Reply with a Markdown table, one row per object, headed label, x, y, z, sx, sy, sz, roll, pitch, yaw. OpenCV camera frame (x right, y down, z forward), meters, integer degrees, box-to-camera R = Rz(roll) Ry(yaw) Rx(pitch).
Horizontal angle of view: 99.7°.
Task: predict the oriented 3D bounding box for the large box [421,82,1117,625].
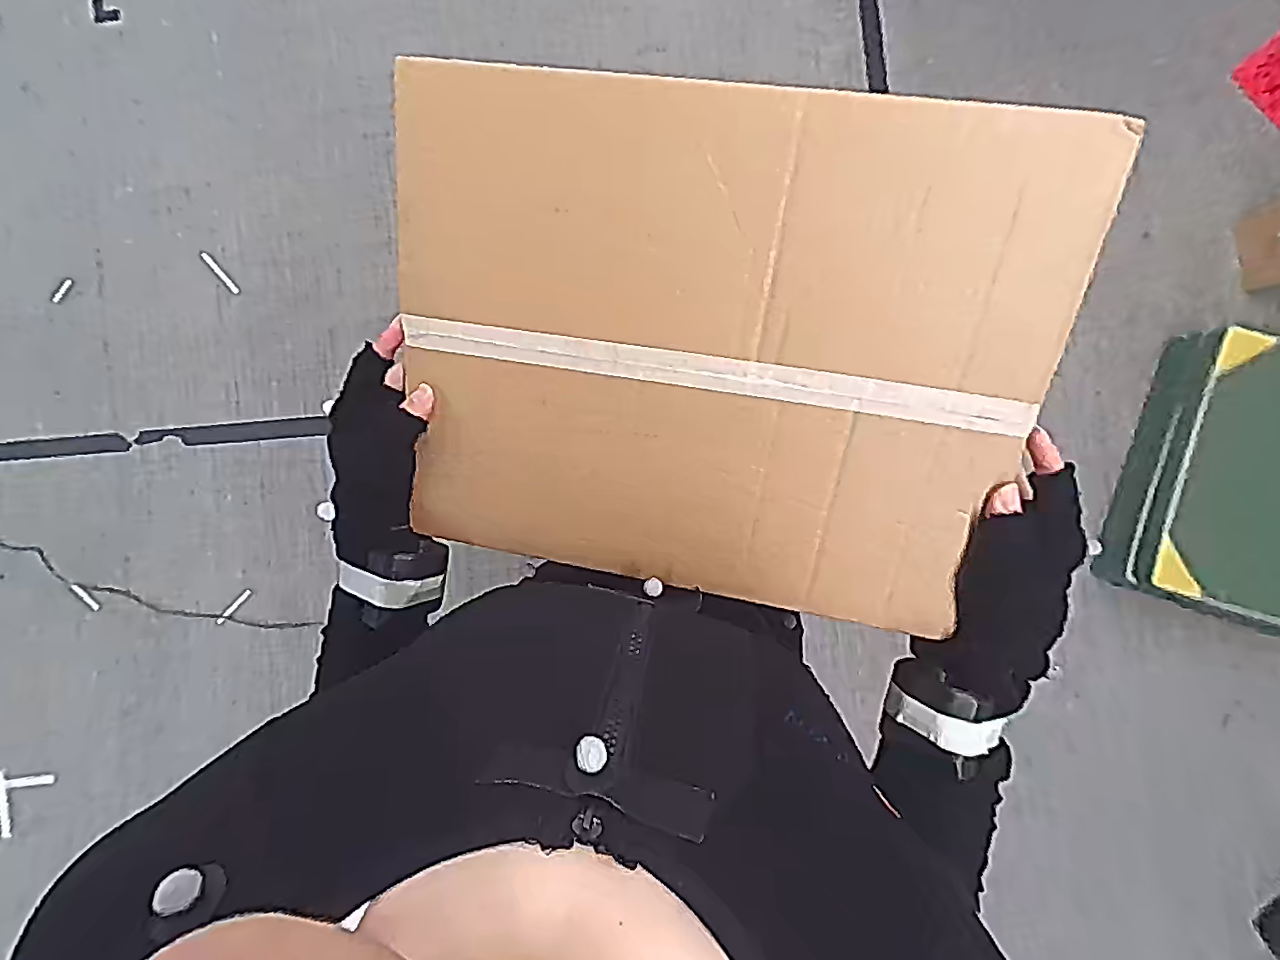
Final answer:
| label | x | y | z | sx | sy | sz | roll | pitch | yaw |
| --- | --- | --- | --- | --- | --- | --- | --- | --- | --- |
| large box | 0.066 | -0.116 | 0.496 | 0.408 | 0.320 | 0.320 | 10 | 111 | 8 |
